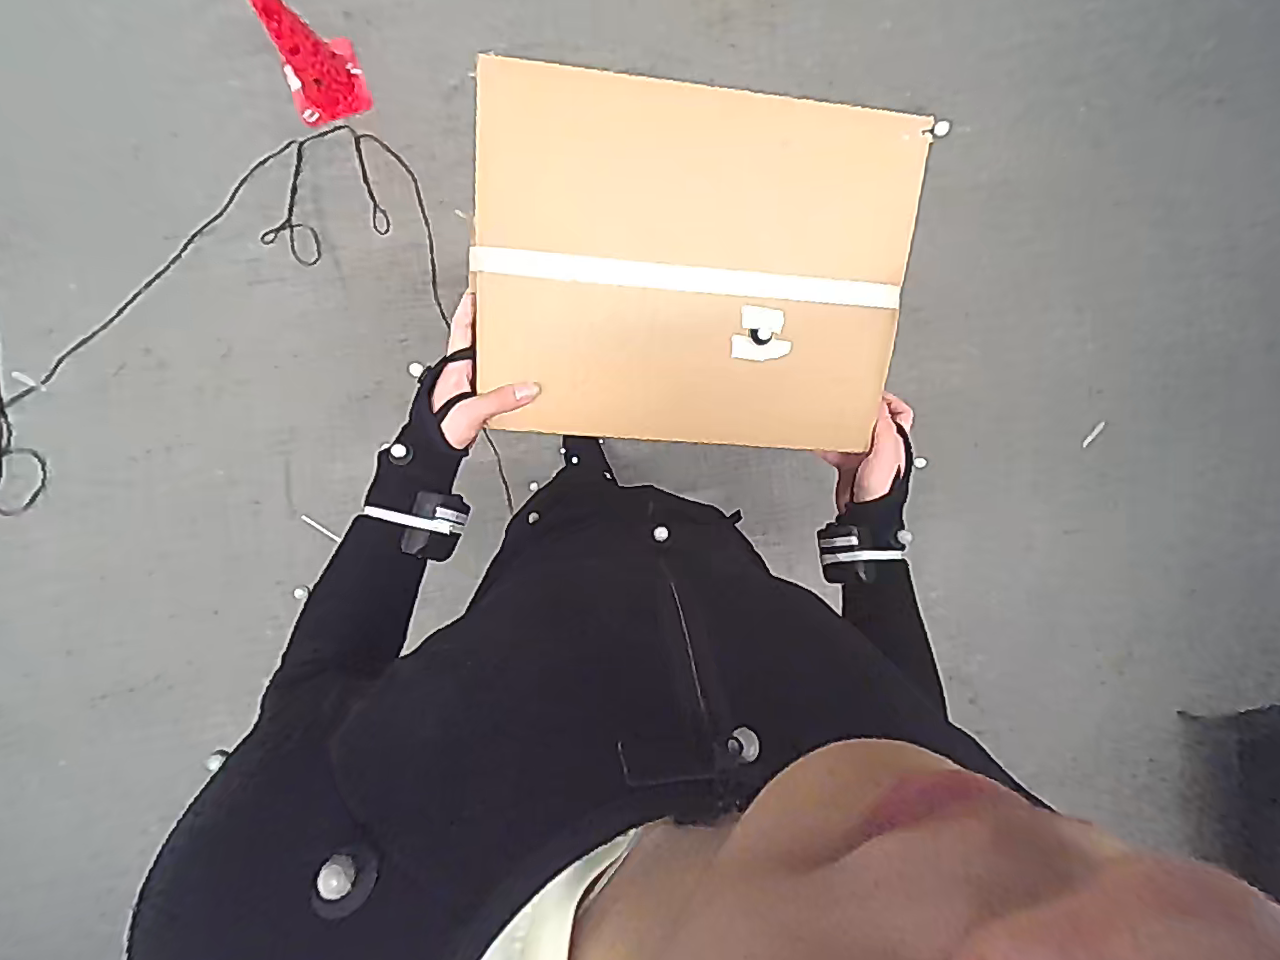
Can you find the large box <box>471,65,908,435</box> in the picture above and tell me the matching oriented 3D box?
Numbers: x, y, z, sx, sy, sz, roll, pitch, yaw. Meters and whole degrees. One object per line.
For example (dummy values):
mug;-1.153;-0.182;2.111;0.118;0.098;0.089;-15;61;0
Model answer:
large box;0.029;-0.236;0.658;0.408;0.320;0.320;2;106;-7
